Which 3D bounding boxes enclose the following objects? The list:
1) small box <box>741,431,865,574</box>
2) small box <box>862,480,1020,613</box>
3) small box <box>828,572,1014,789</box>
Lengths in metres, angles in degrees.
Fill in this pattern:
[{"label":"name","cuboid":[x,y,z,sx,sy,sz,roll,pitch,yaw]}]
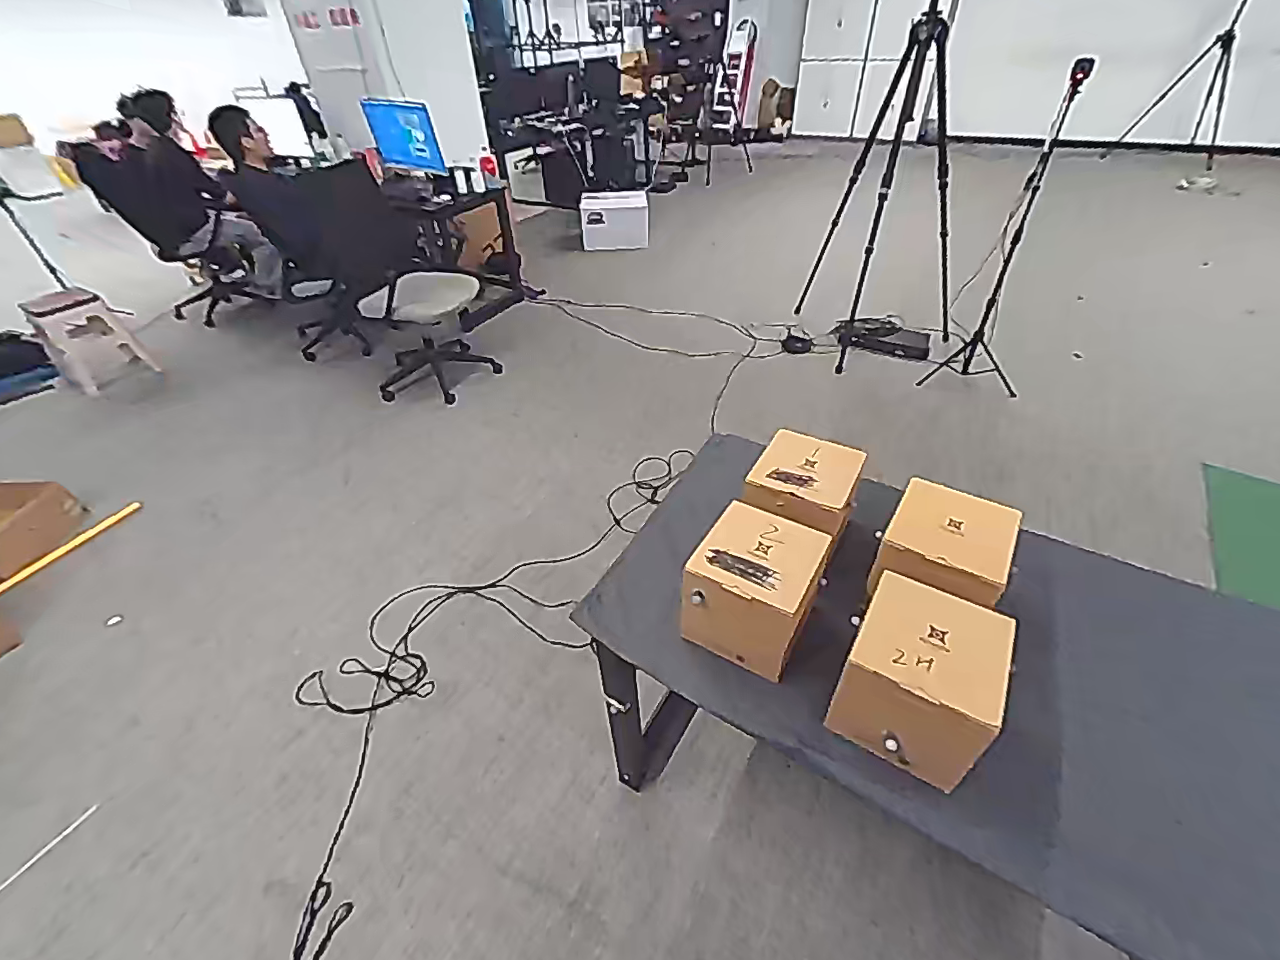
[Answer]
[{"label":"small box","cuboid":[0.295,0.042,0.997,0.168,0.176,0.179,20,45,24]},{"label":"small box","cuboid":[0.482,0.136,0.879,0.168,0.176,0.179,23,47,26]},{"label":"small box","cuboid":[0.369,0.264,0.726,0.168,0.176,0.179,22,44,26]}]
